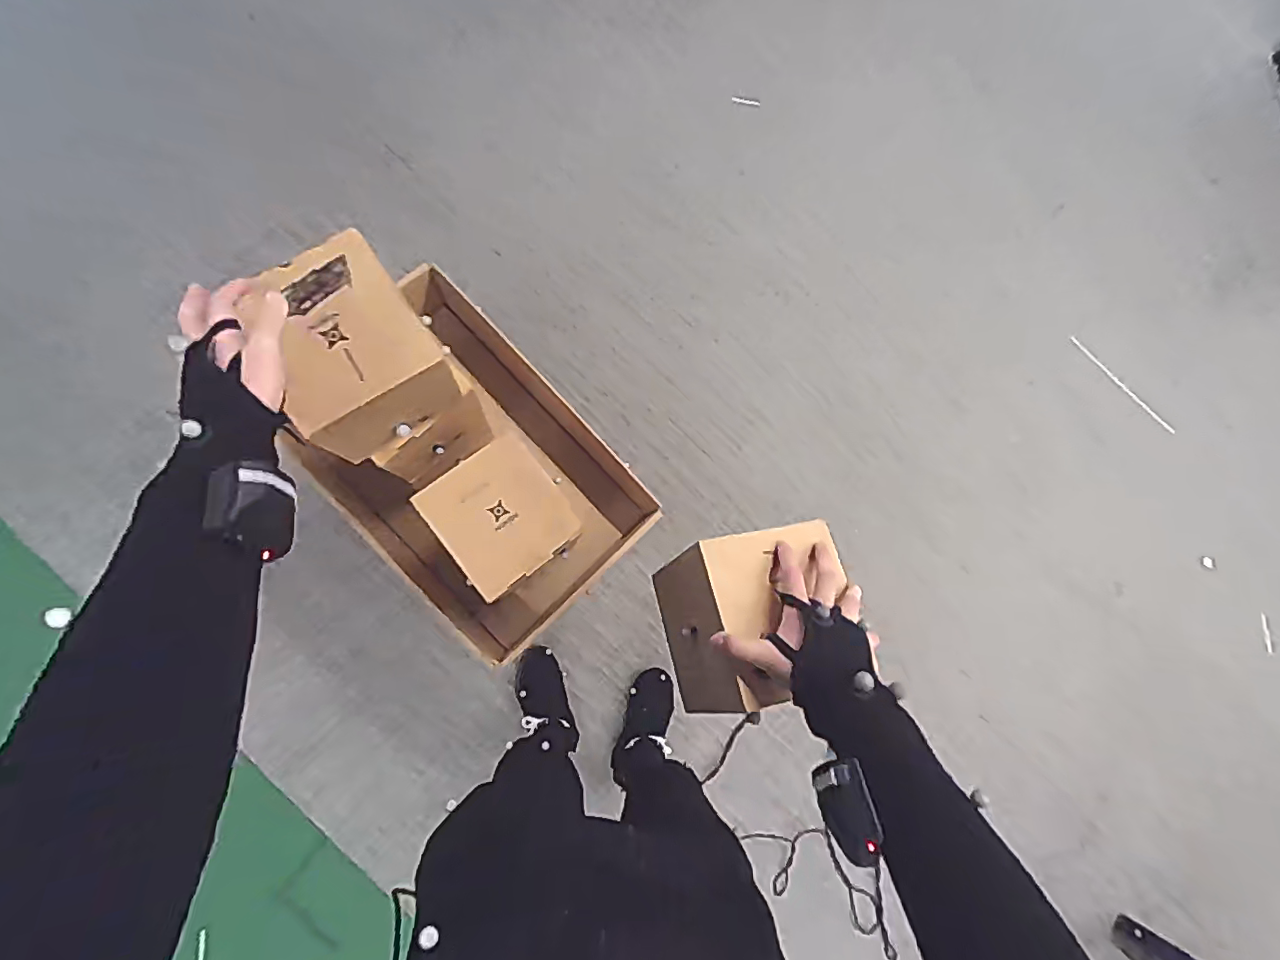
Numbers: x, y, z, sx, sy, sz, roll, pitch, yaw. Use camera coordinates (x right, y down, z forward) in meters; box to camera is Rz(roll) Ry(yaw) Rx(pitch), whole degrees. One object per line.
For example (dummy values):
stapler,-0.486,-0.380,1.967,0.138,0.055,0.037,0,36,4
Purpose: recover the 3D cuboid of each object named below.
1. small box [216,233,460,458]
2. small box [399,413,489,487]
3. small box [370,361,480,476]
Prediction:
small box,-0.339,-0.147,0.648,0.168,0.176,0.179,-34,91,-13
small box,-0.394,-0.105,0.967,0.168,0.176,0.179,-44,92,-12
small box,-0.363,-0.125,0.809,0.168,0.176,0.179,-44,93,-13
